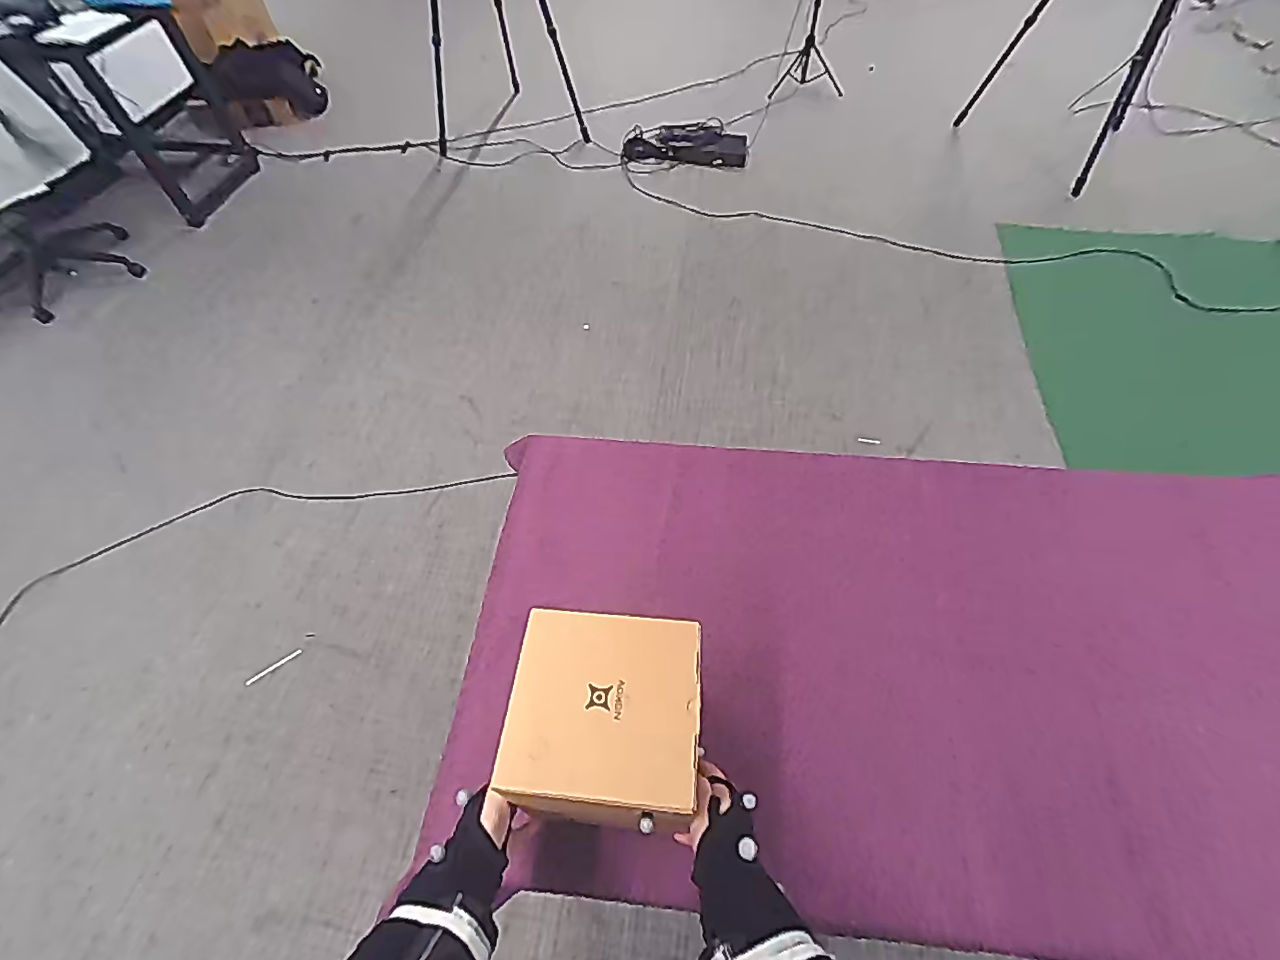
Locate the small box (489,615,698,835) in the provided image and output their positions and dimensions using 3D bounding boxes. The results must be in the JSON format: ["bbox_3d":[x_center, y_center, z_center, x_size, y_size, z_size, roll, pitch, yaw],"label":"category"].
[{"bbox_3d":[-0.033,0.257,0.561,0.179,0.176,0.168,3,51,4],"label":"small box"}]
